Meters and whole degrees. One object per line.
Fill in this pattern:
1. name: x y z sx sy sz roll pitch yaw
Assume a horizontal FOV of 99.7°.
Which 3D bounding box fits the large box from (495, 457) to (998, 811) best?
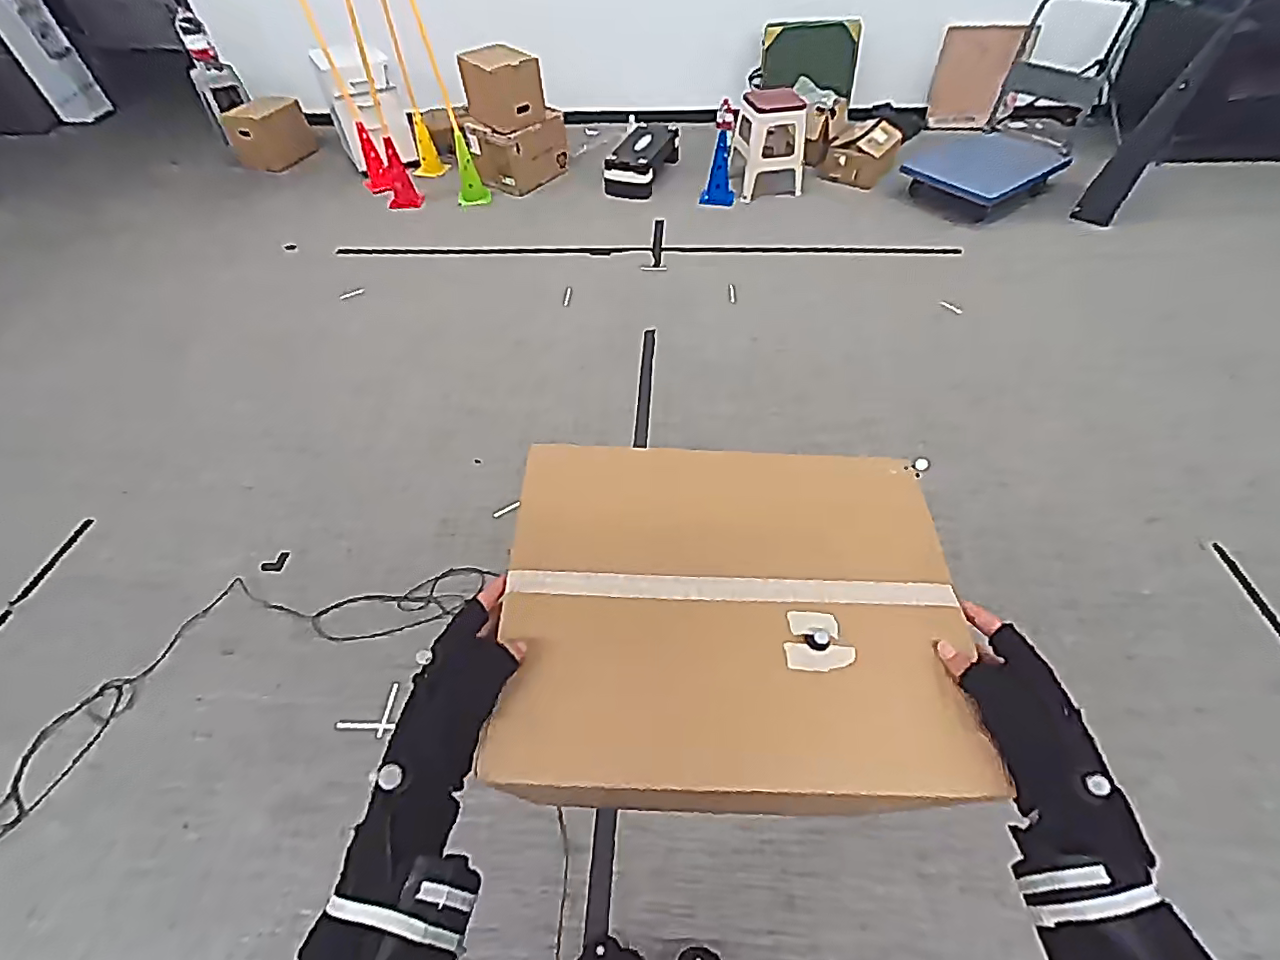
1. large box: 0.077 0.190 0.621 0.408 0.320 0.320 2 57 -2
